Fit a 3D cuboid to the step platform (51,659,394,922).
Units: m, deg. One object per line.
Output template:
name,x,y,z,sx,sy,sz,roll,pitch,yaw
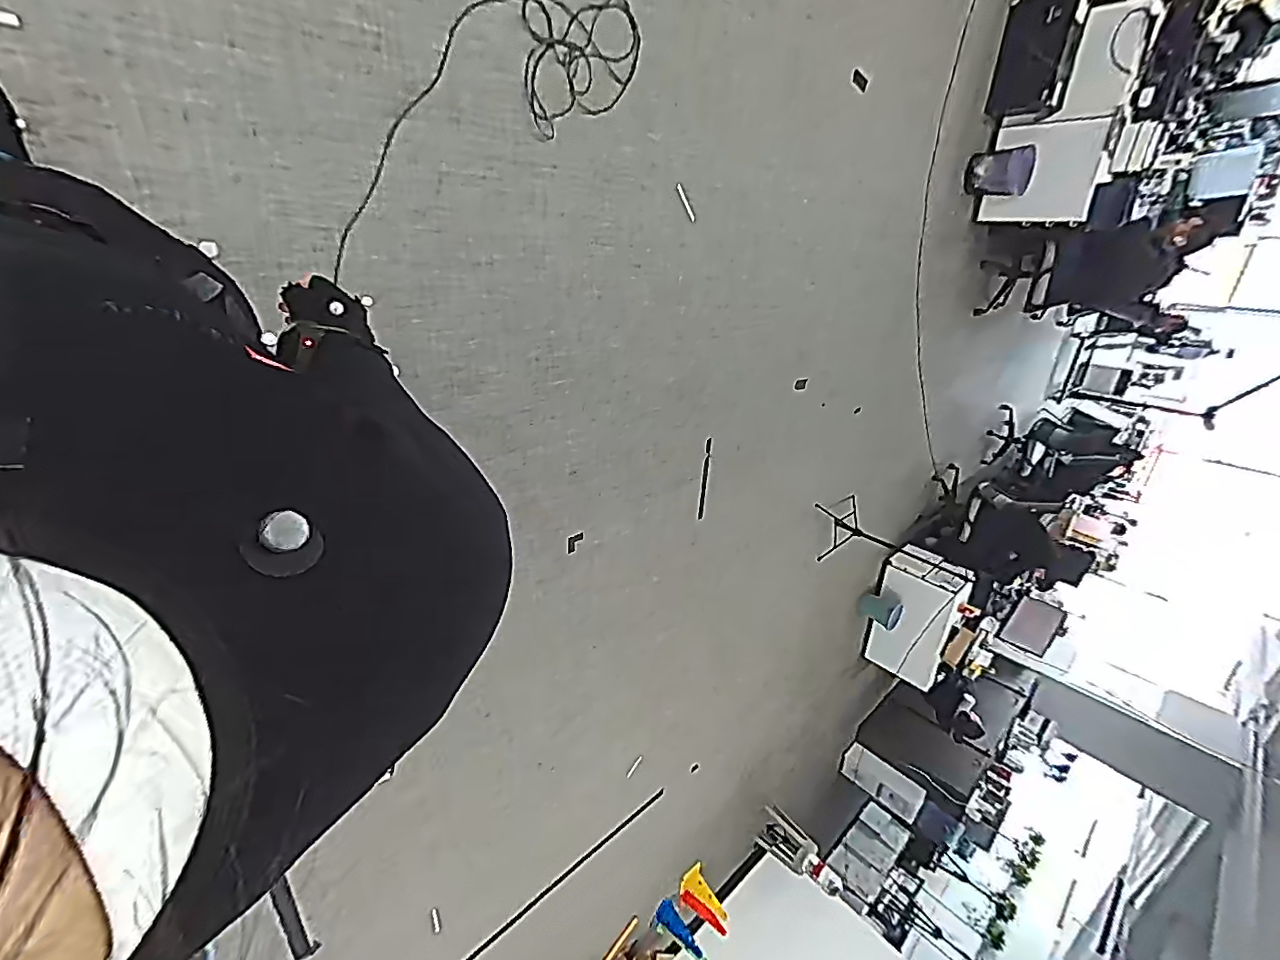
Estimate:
step platform,-1.009,0.758,1.395,0.684,0.204,0.286,-19,122,-37
